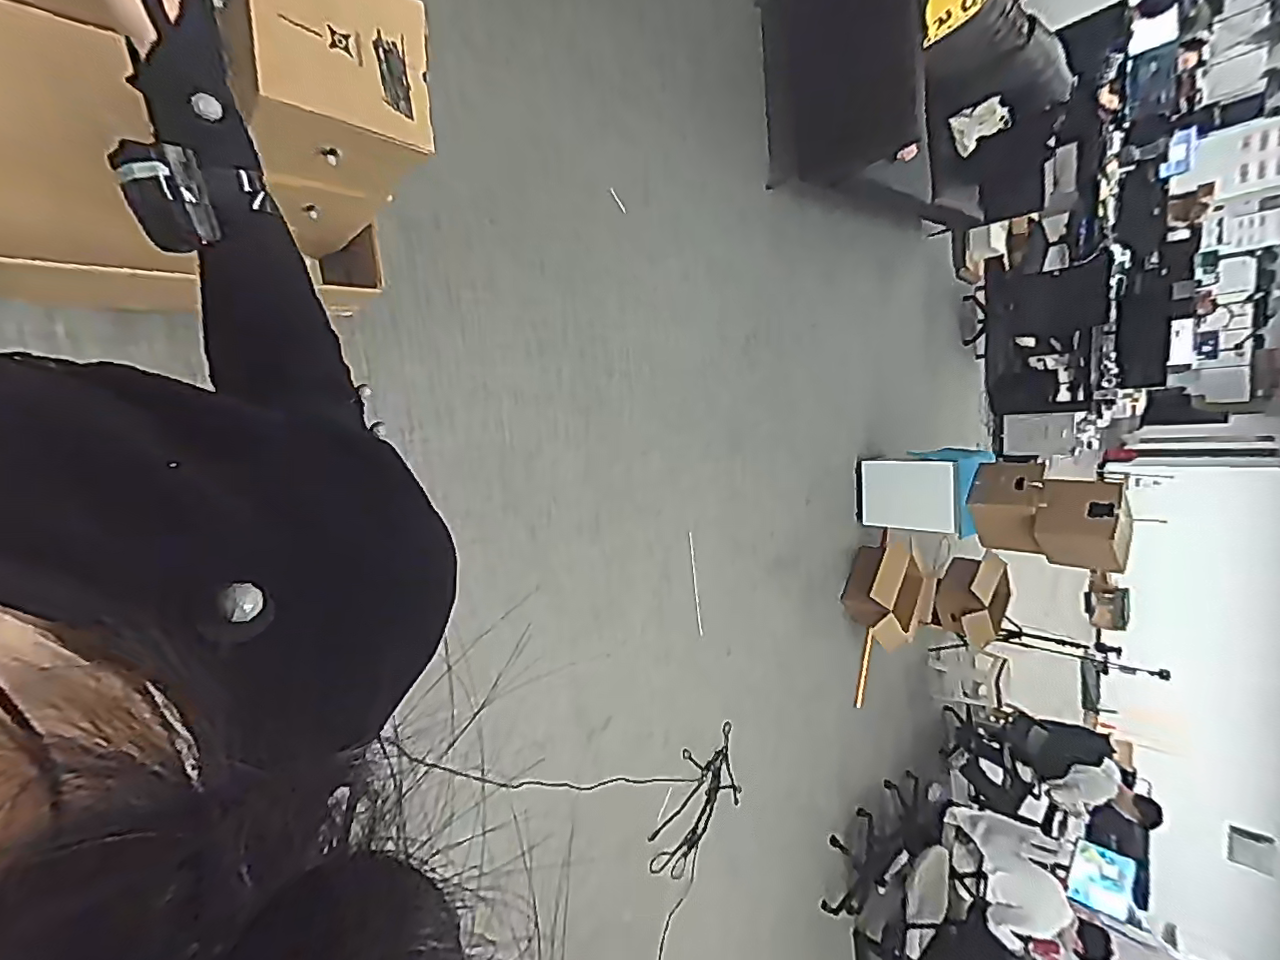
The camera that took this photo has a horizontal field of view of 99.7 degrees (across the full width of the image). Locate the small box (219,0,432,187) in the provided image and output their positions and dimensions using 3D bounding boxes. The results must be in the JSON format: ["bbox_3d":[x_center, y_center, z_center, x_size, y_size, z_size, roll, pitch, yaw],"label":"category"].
[{"bbox_3d":[-0.362,-0.465,0.625,0.179,0.176,0.168,-7,97,-42],"label":"small box"}]
